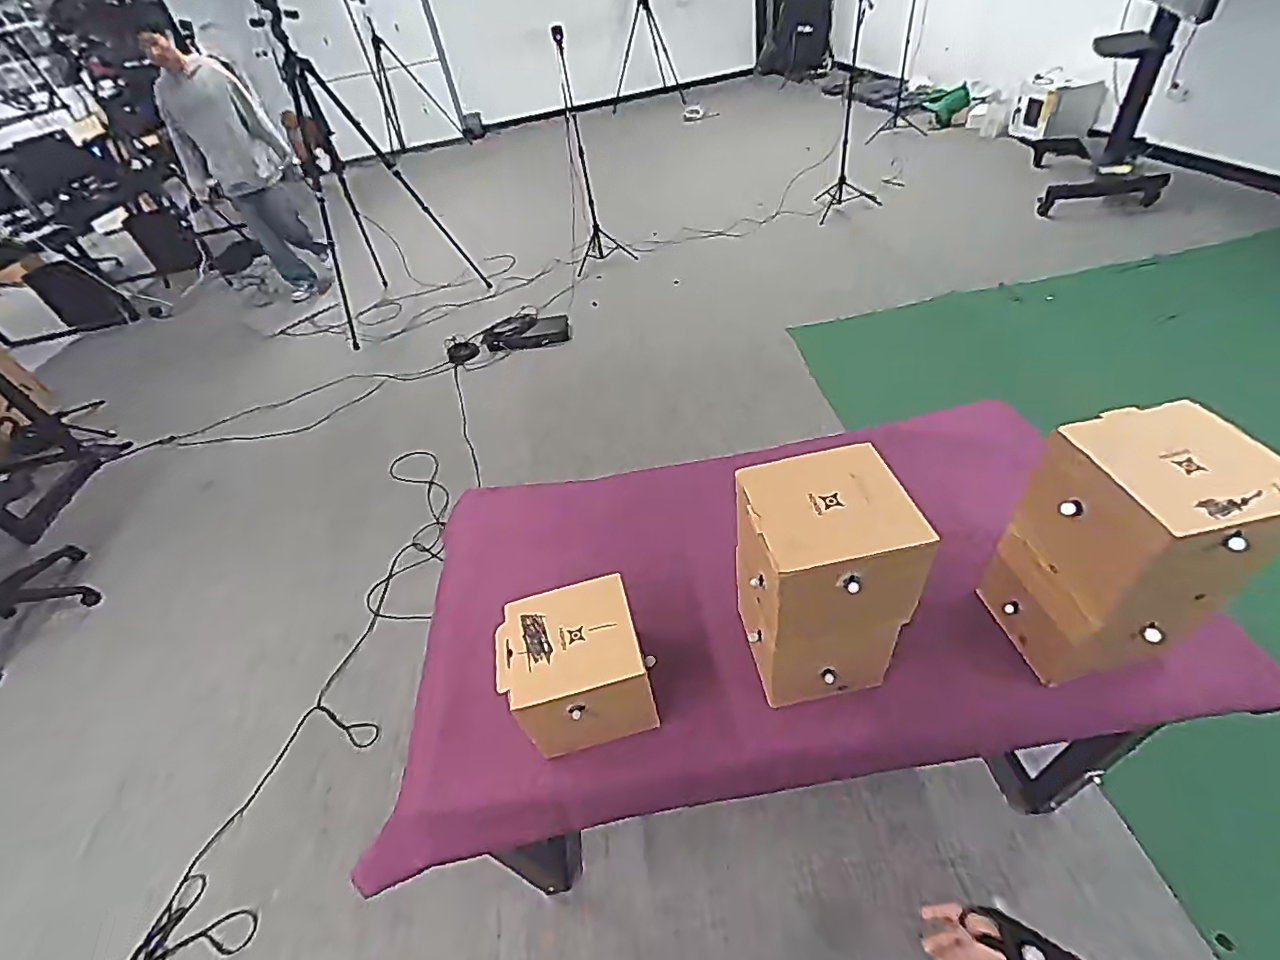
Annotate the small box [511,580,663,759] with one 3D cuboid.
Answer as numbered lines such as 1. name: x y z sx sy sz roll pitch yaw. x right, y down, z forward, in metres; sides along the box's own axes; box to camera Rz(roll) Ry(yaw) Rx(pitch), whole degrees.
1. small box: -0.077 0.280 0.791 0.179 0.176 0.168 -15 43 -4

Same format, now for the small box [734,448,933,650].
1. small box: 0.226 0.090 0.673 0.179 0.176 0.168 -12 43 1

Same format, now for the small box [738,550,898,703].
1. small box: 0.248 0.204 0.788 0.168 0.176 0.179 -12 42 1

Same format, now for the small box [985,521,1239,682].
1. small box: 0.623 0.154 0.747 0.179 0.176 0.168 -14 44 1

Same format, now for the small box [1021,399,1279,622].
1. small box: 0.596 0.036 0.635 0.168 0.176 0.179 -14 43 2
